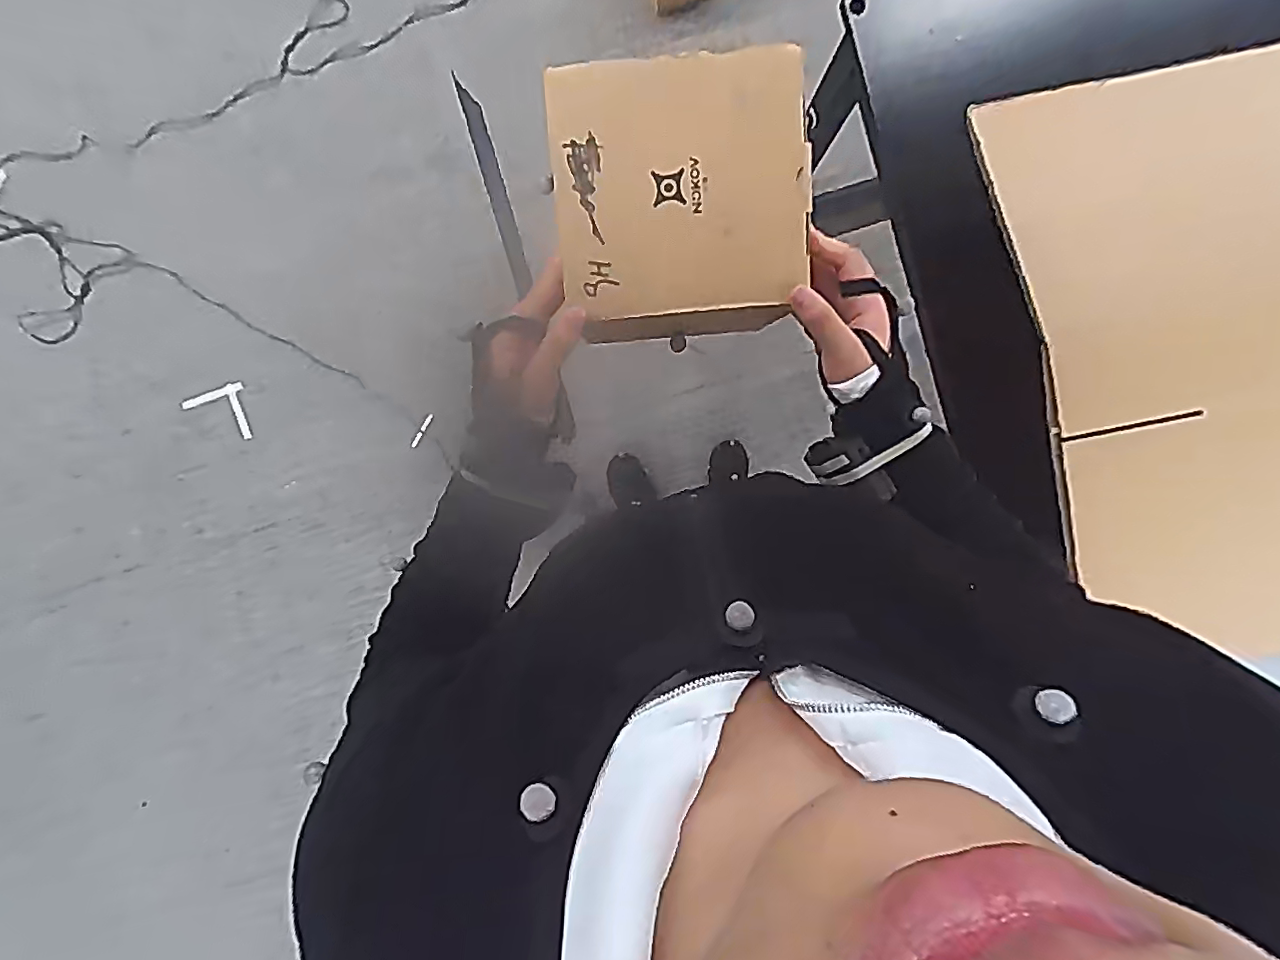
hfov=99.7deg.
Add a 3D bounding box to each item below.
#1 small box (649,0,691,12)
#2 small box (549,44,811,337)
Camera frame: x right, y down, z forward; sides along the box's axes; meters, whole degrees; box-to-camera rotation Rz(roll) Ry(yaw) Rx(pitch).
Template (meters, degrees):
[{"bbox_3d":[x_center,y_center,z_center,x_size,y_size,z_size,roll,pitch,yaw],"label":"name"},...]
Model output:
[{"bbox_3d":[0.092,-1.346,1.360,0.179,0.176,0.168,-21,93,1],"label":"small box"},{"bbox_3d":[0.028,-0.217,0.452,0.179,0.176,0.168,-5,98,-1],"label":"small box"}]
